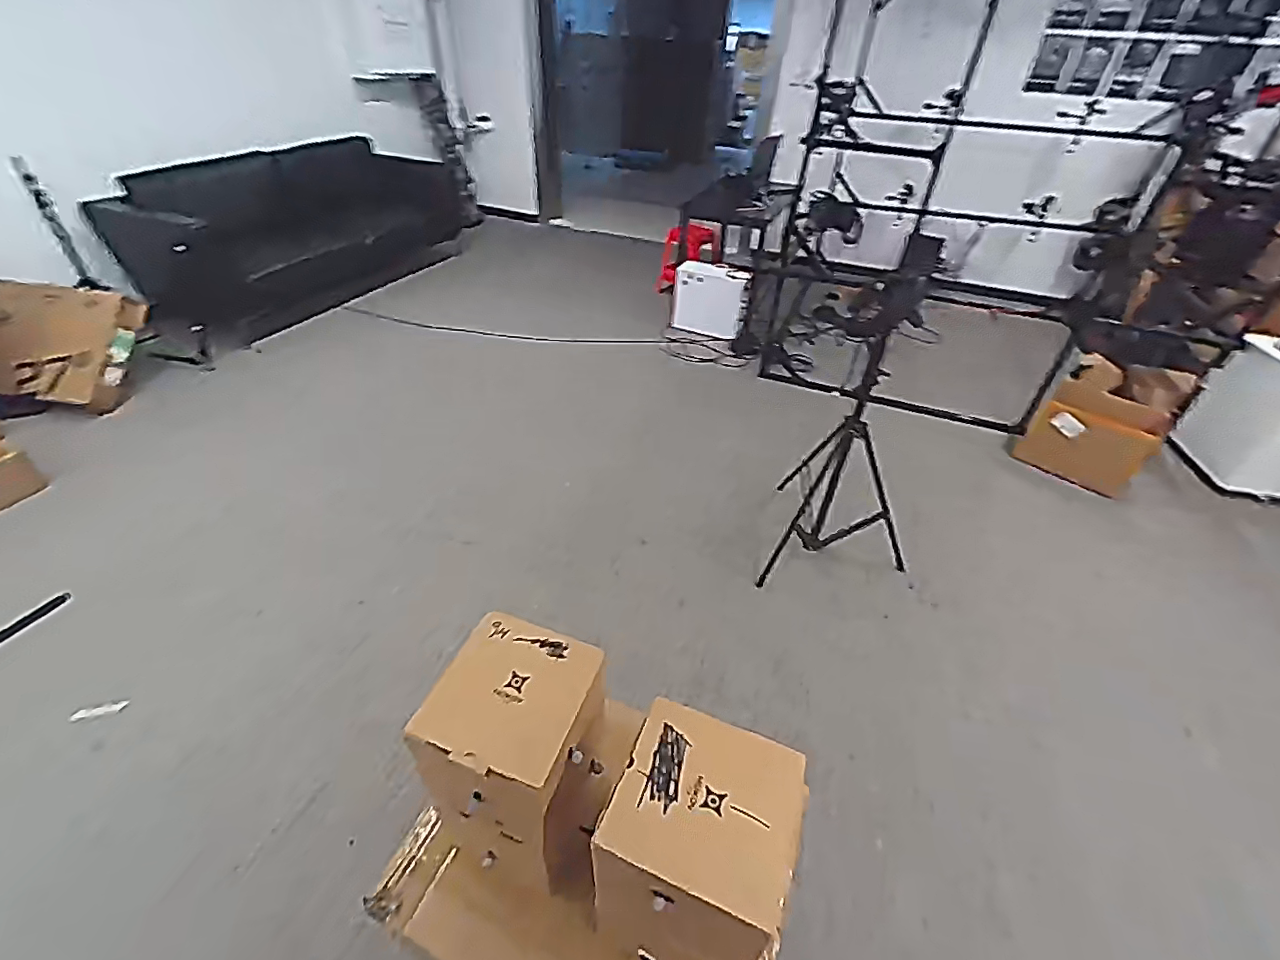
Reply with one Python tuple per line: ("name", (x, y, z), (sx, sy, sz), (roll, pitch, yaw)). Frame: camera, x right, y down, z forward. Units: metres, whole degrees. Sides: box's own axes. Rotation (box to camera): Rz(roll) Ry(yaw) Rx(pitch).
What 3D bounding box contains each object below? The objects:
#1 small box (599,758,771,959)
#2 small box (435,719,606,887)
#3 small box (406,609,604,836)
("small box", (0.058, 0.506, 0.695), (0.168, 0.176, 0.179), (15, 41, 17))
("small box", (-0.160, 0.429, 0.772), (0.168, 0.176, 0.179), (17, 41, 14))
("small box", (-0.150, 0.300, 0.670), (0.168, 0.176, 0.179), (16, 41, 14))
